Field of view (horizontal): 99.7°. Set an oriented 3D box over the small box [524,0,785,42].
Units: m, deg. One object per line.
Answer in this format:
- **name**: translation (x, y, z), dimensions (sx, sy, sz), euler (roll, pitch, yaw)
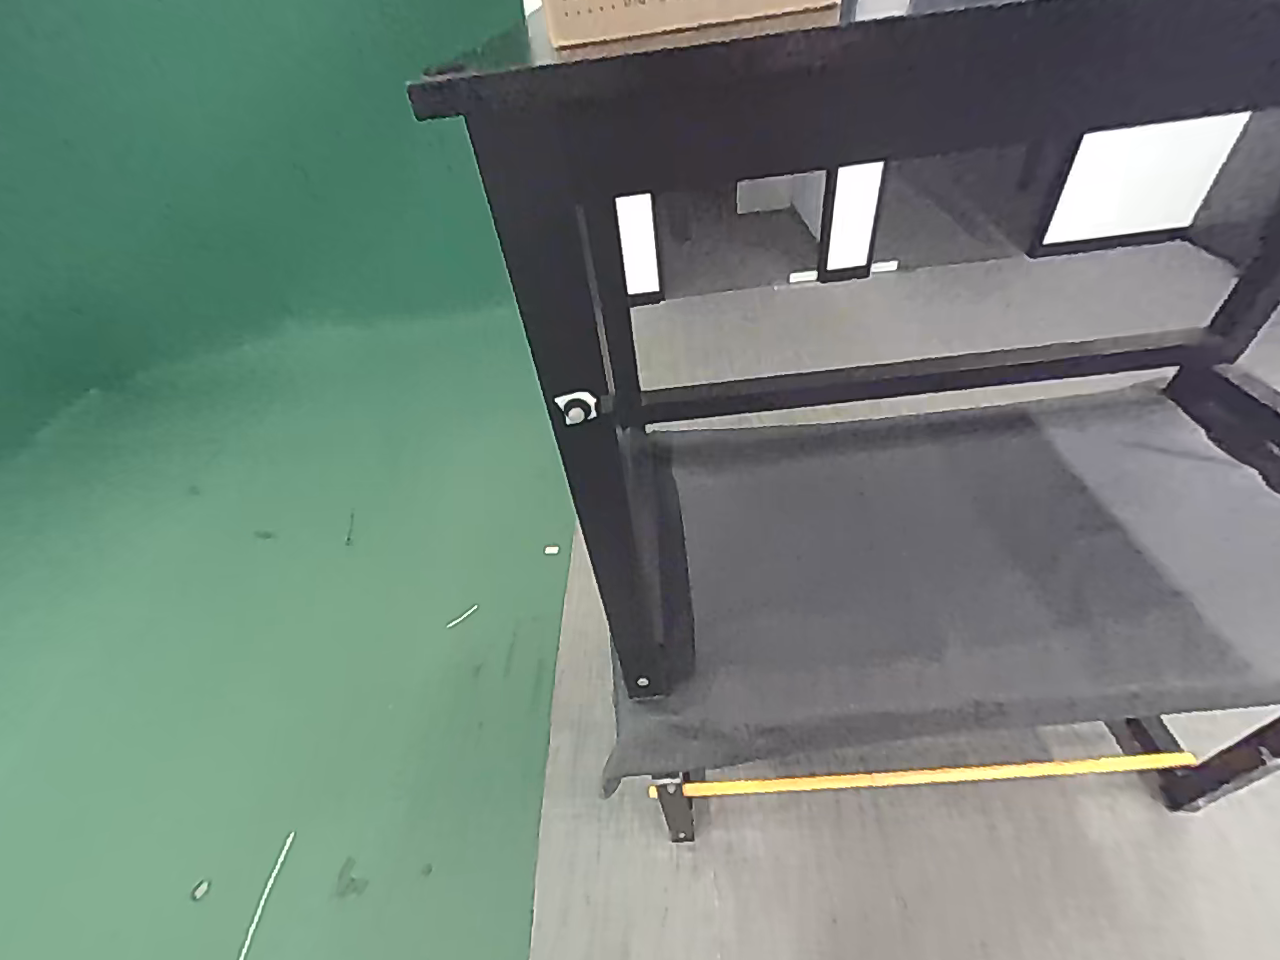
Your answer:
- **small box**: translation (-0.001, -0.379, 0.321), dimensions (0.168, 0.176, 0.179), euler (-10, 43, -2)
